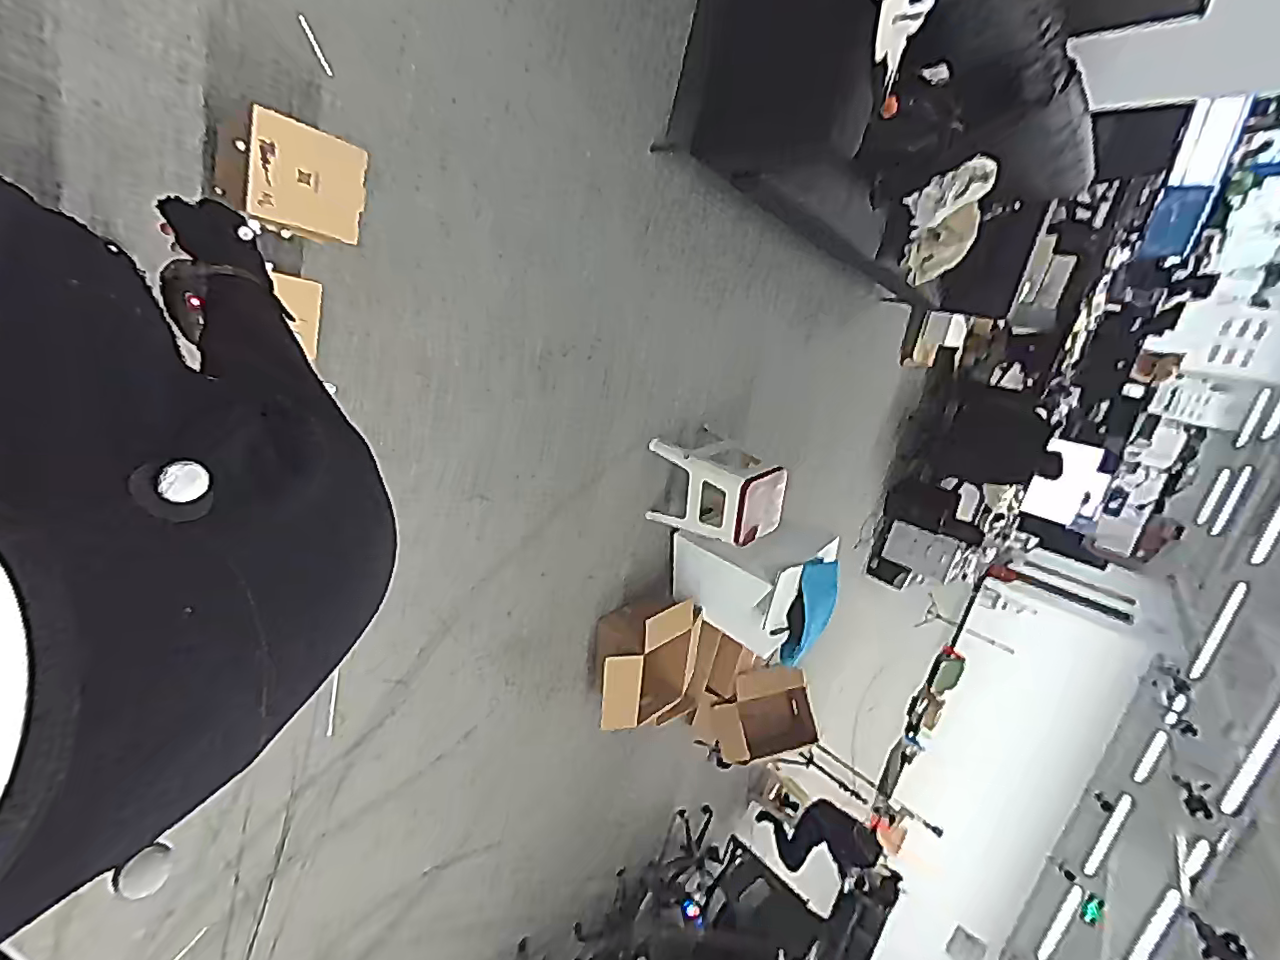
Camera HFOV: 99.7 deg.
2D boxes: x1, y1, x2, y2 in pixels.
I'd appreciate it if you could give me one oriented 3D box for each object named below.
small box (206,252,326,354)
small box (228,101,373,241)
[{"bbox_3d":[-0.794,-0.374,1.142,0.179,0.176,0.168,-1,110,-48],"label":"small box"},{"bbox_3d":[-0.620,-0.553,0.985,0.179,0.176,0.168,0,109,-48],"label":"small box"}]
